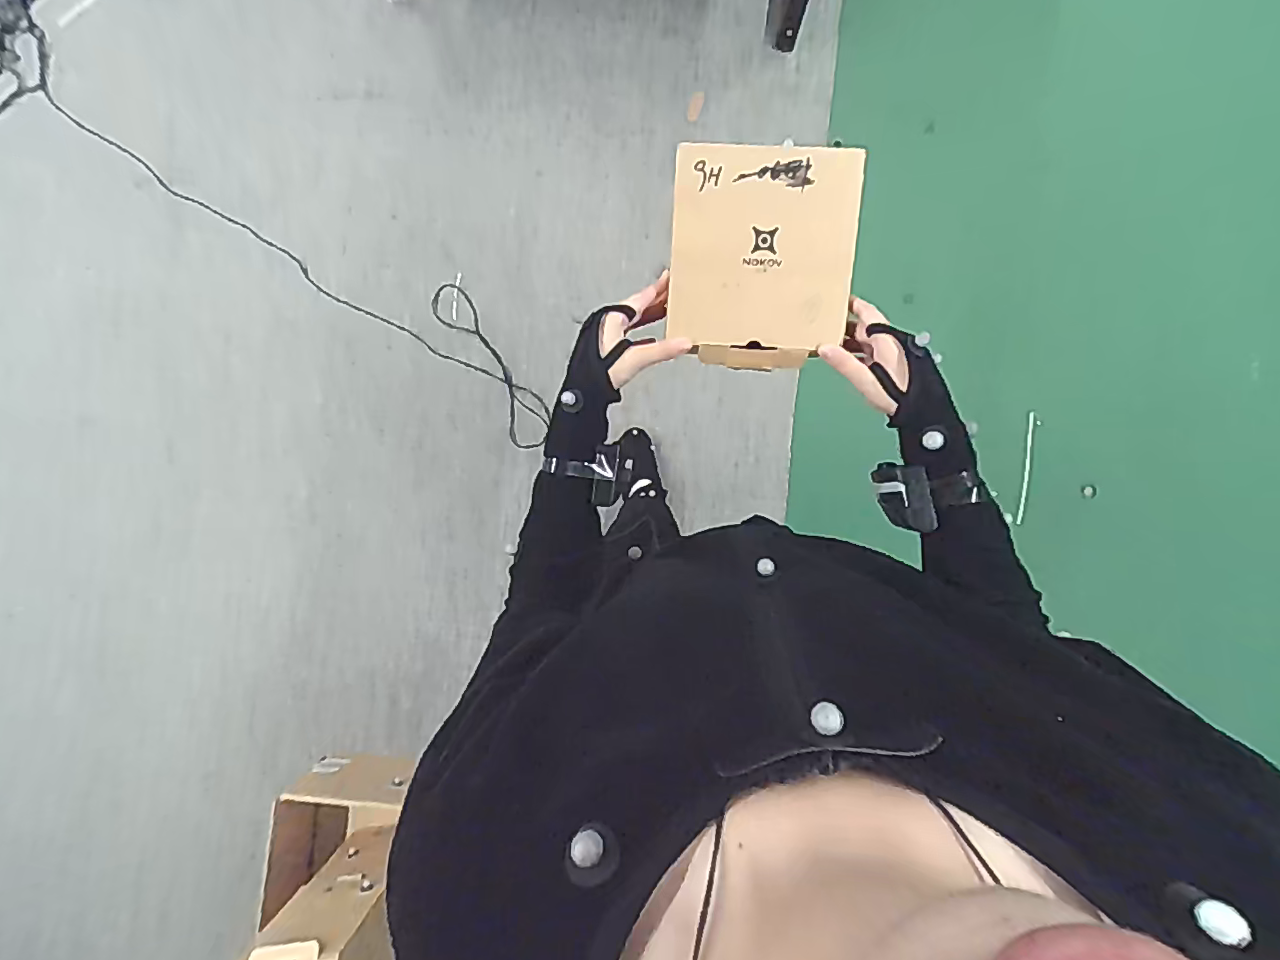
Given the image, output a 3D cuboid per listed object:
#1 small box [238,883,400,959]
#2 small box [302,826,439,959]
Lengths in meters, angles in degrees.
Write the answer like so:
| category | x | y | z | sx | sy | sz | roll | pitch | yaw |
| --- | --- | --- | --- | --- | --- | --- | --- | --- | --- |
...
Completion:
| category | x | y | z | sx | sy | sz | roll | pitch | yaw |
| --- | --- | --- | --- | --- | --- | --- | --- | --- | --- |
| small box | -0.495 | 0.767 | 0.841 | 0.168 | 0.176 | 0.179 | -8 | 89 | 1 |
| small box | -0.492 | 0.776 | 1.005 | 0.168 | 0.176 | 0.179 | -8 | 88 | 1 |
